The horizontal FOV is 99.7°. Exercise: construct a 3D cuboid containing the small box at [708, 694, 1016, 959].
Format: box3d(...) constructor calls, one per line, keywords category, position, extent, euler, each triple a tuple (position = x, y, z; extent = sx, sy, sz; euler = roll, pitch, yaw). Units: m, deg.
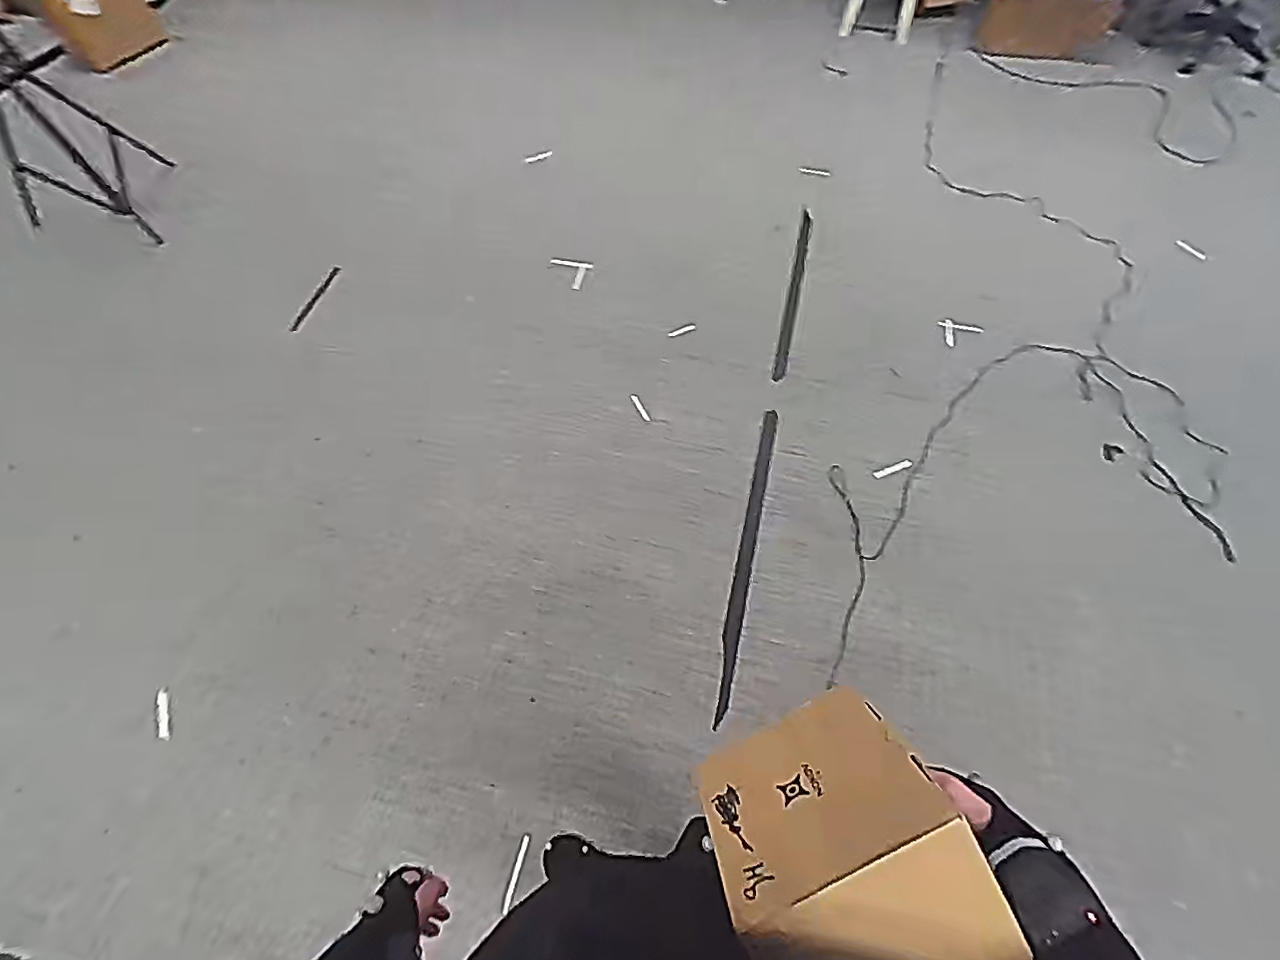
box3d(category="small box", position=(0.184, 0.333, 0.471), extent=(0.179, 0.168, 0.176), euler=(-28, 100, 1))
